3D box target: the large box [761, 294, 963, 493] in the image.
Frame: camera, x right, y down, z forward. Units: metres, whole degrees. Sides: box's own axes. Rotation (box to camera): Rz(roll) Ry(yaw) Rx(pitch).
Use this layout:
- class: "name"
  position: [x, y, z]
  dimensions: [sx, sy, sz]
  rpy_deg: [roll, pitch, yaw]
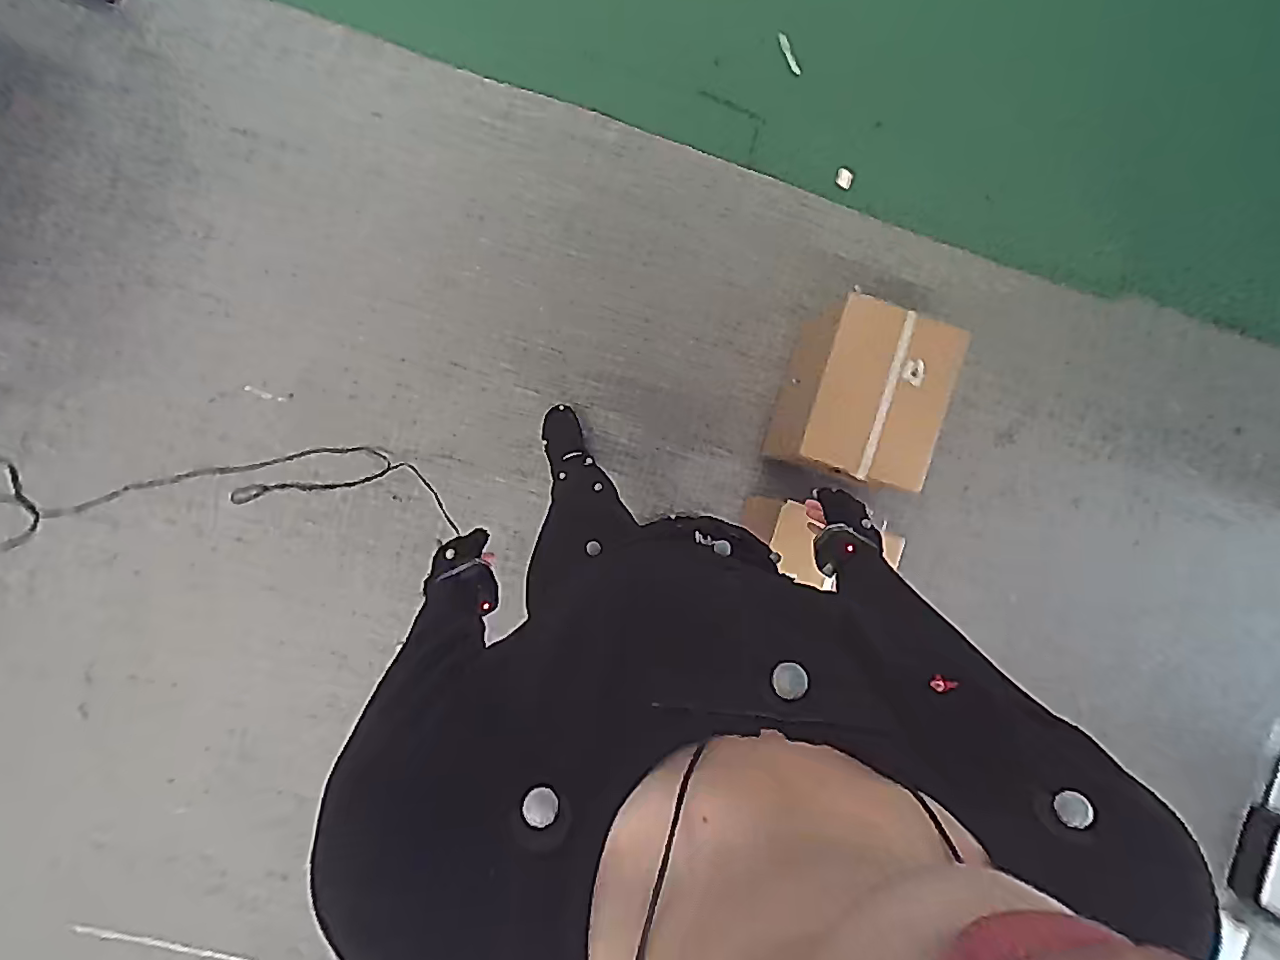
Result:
- class: "large box"
  position: [0.553, -0.197, 1.411]
  dimensions: [0.320, 0.320, 0.408]
  rpy_deg: [18, 88, -5]
